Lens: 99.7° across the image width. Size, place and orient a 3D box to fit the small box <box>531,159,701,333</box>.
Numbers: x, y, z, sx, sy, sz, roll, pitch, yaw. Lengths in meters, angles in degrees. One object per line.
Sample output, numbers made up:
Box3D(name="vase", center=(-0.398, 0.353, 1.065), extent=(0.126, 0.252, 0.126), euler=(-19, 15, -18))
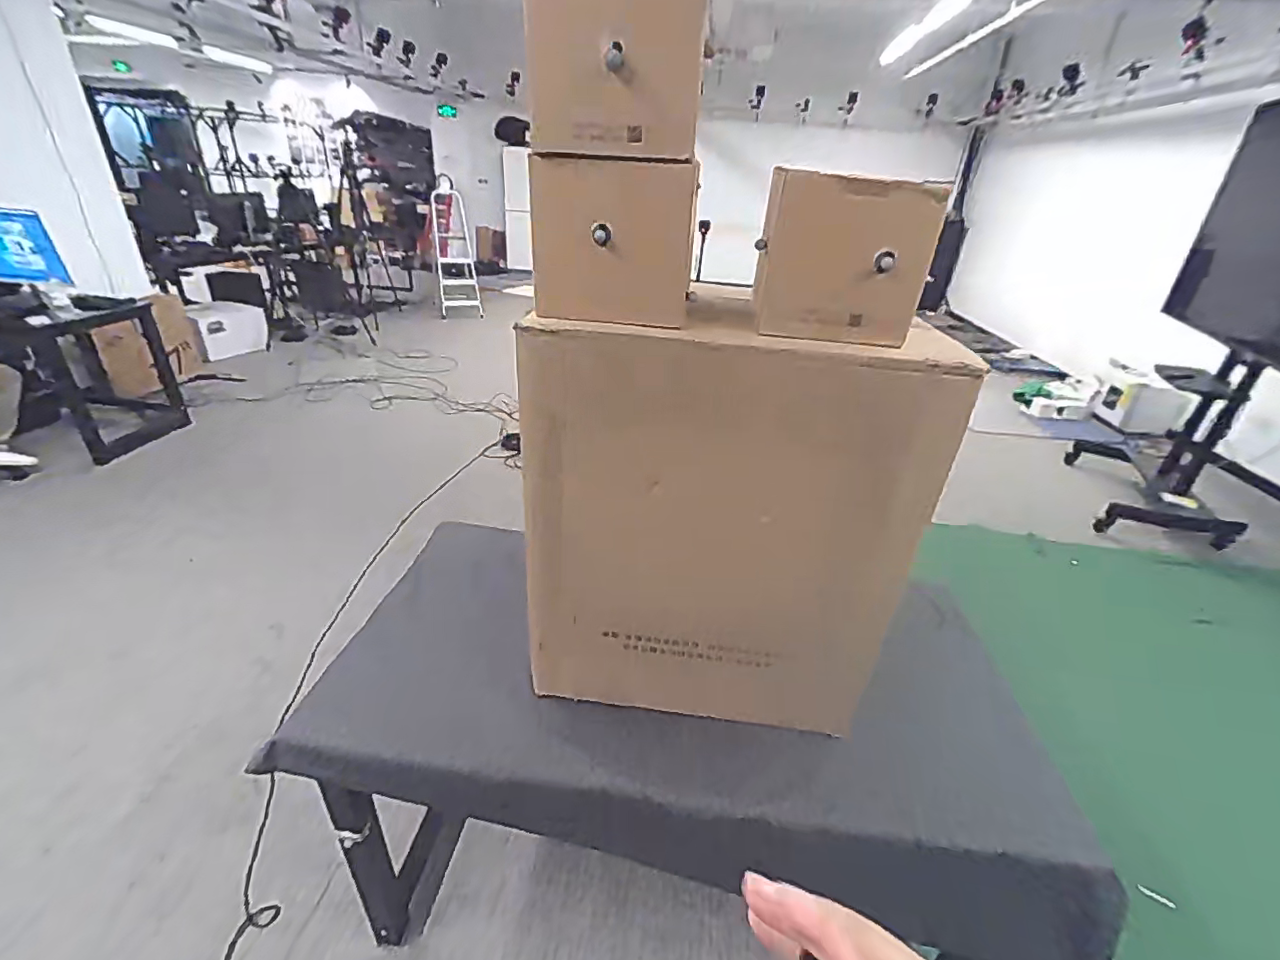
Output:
Box3D(name="small box", center=(-0.026, -0.286, 0.655), extent=(0.179, 0.176, 0.168), euler=(6, 32, 1))

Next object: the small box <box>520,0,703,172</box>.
Box3D(name="small box", center=(-0.021, -0.427, 0.572), extent=(0.168, 0.176, 0.179), euler=(4, 32, 2))

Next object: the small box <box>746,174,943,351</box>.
Box3D(name="small box", center=(0.225, -0.263, 0.649), extent=(0.168, 0.176, 0.179), euler=(8, 30, 4))
